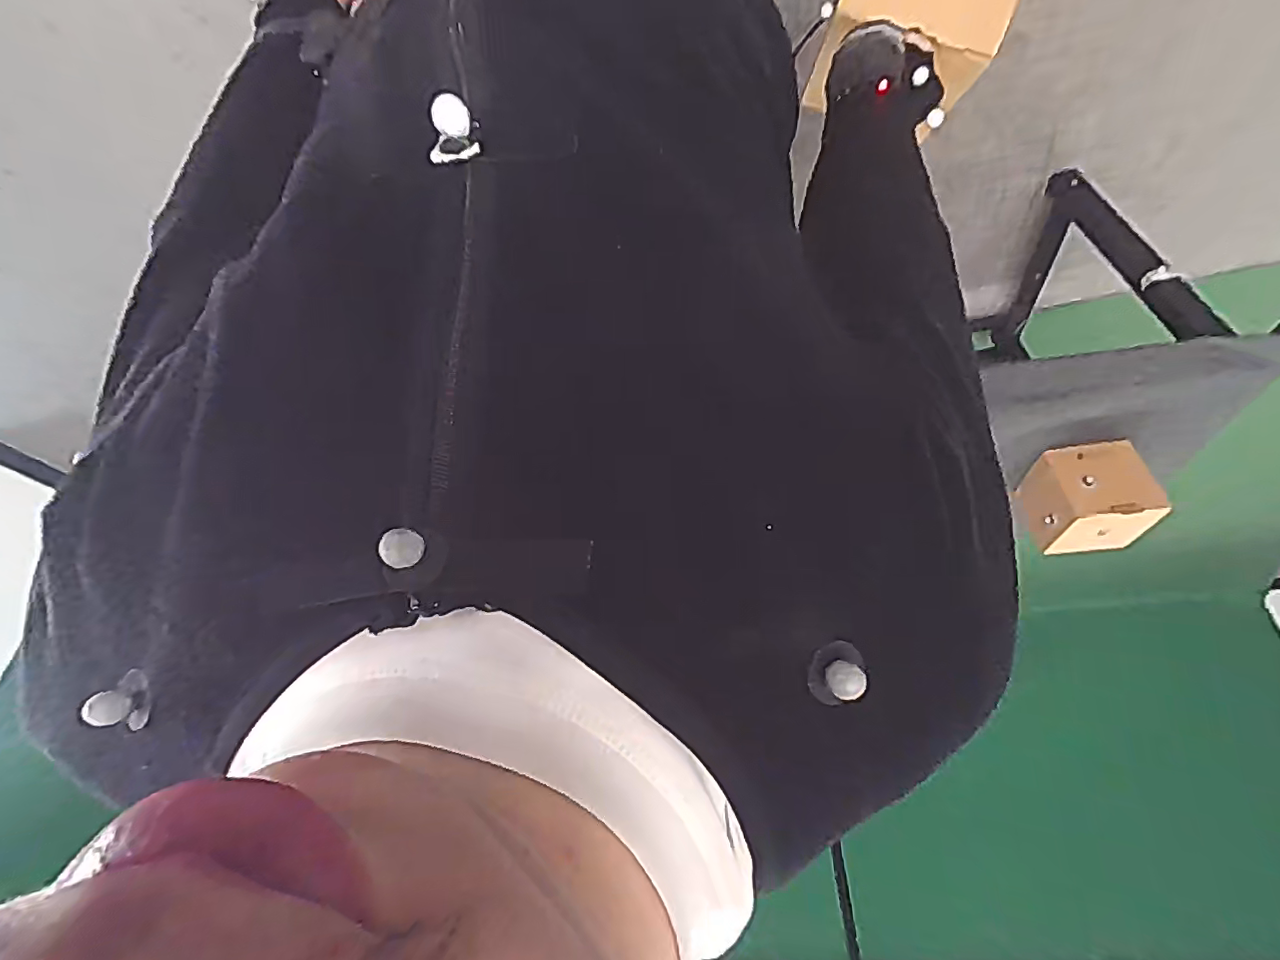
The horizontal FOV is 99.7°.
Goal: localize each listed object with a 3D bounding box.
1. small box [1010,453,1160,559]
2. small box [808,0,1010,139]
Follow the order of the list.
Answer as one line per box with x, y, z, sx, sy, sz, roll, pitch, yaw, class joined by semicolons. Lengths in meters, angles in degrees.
0.943;0.053;1.171;0.168;0.176;0.179;-6;147;8;small box
0.305;-0.530;0.609;0.168;0.179;0.176;21;-172;2;small box
